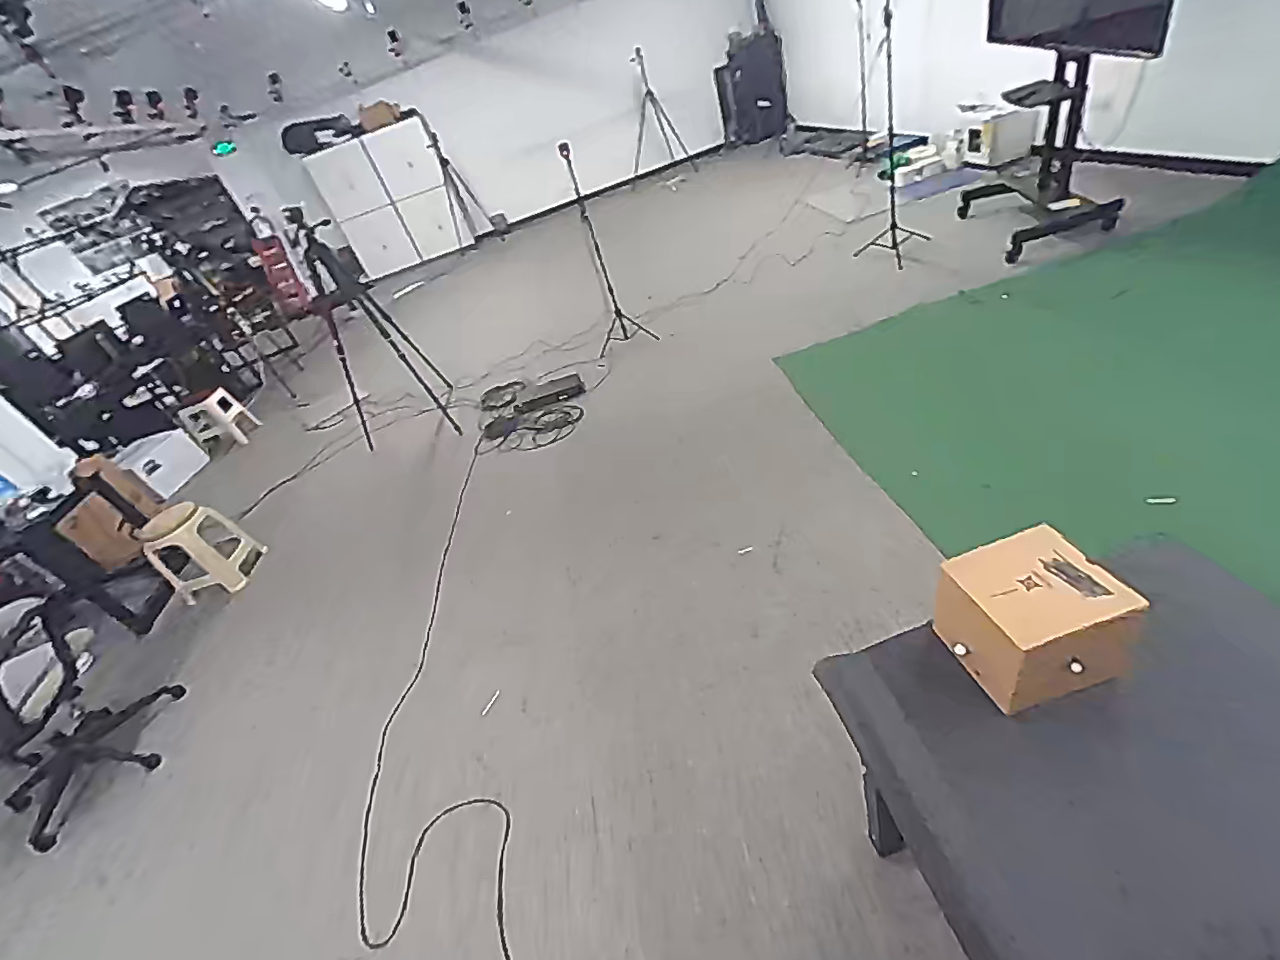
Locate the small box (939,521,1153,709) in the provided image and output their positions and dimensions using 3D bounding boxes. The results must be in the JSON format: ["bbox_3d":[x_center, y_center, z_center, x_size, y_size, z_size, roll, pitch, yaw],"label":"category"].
[{"bbox_3d":[0.561,0.194,0.779,0.179,0.176,0.168,-20,36,0],"label":"small box"}]
